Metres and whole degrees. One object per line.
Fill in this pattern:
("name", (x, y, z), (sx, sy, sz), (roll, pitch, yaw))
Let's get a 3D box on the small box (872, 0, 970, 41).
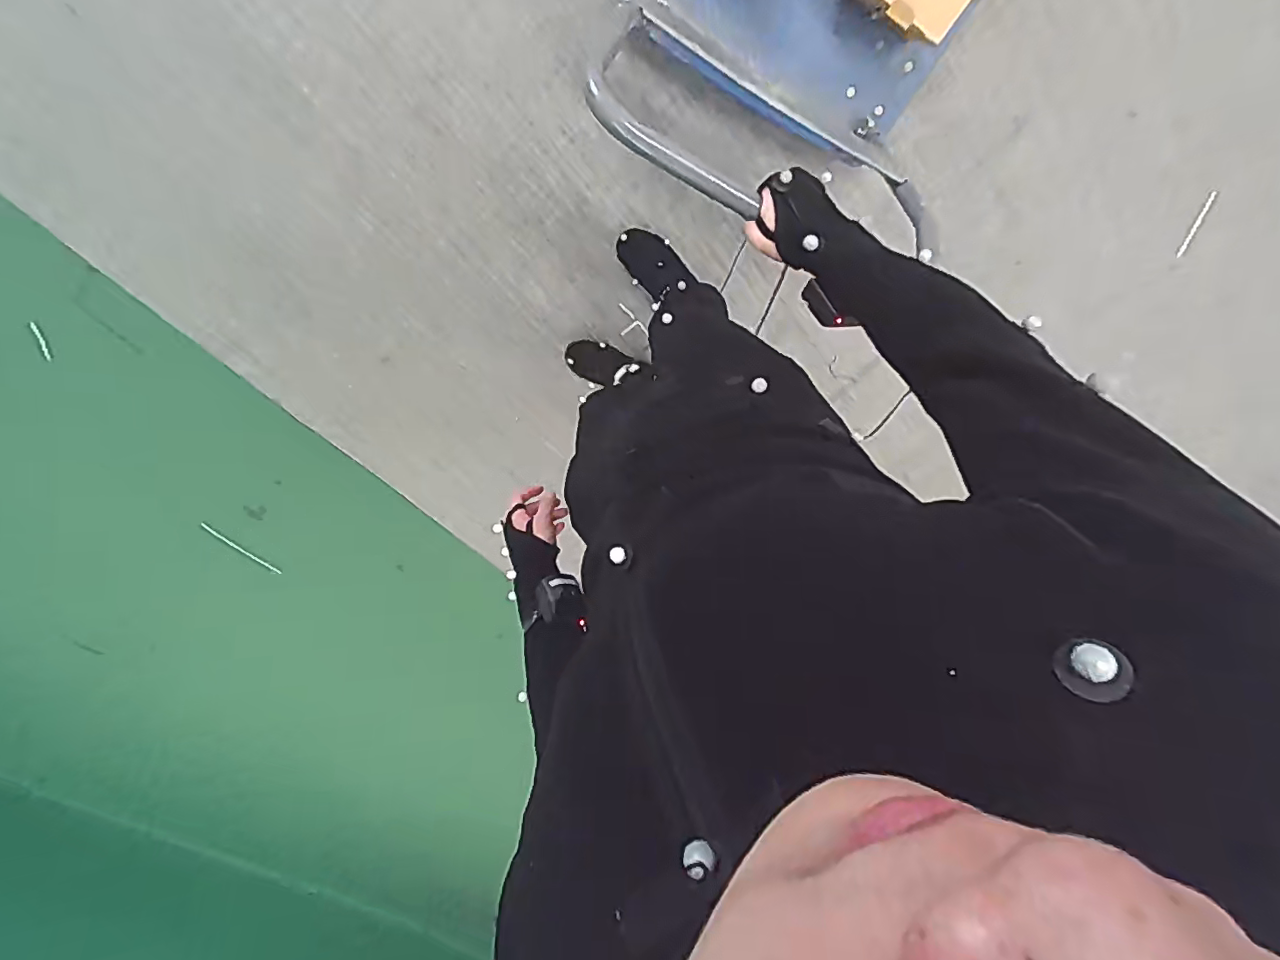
("small box", (0.467, -0.855, 0.863), (0.168, 0.176, 0.179), (25, 131, -15))
